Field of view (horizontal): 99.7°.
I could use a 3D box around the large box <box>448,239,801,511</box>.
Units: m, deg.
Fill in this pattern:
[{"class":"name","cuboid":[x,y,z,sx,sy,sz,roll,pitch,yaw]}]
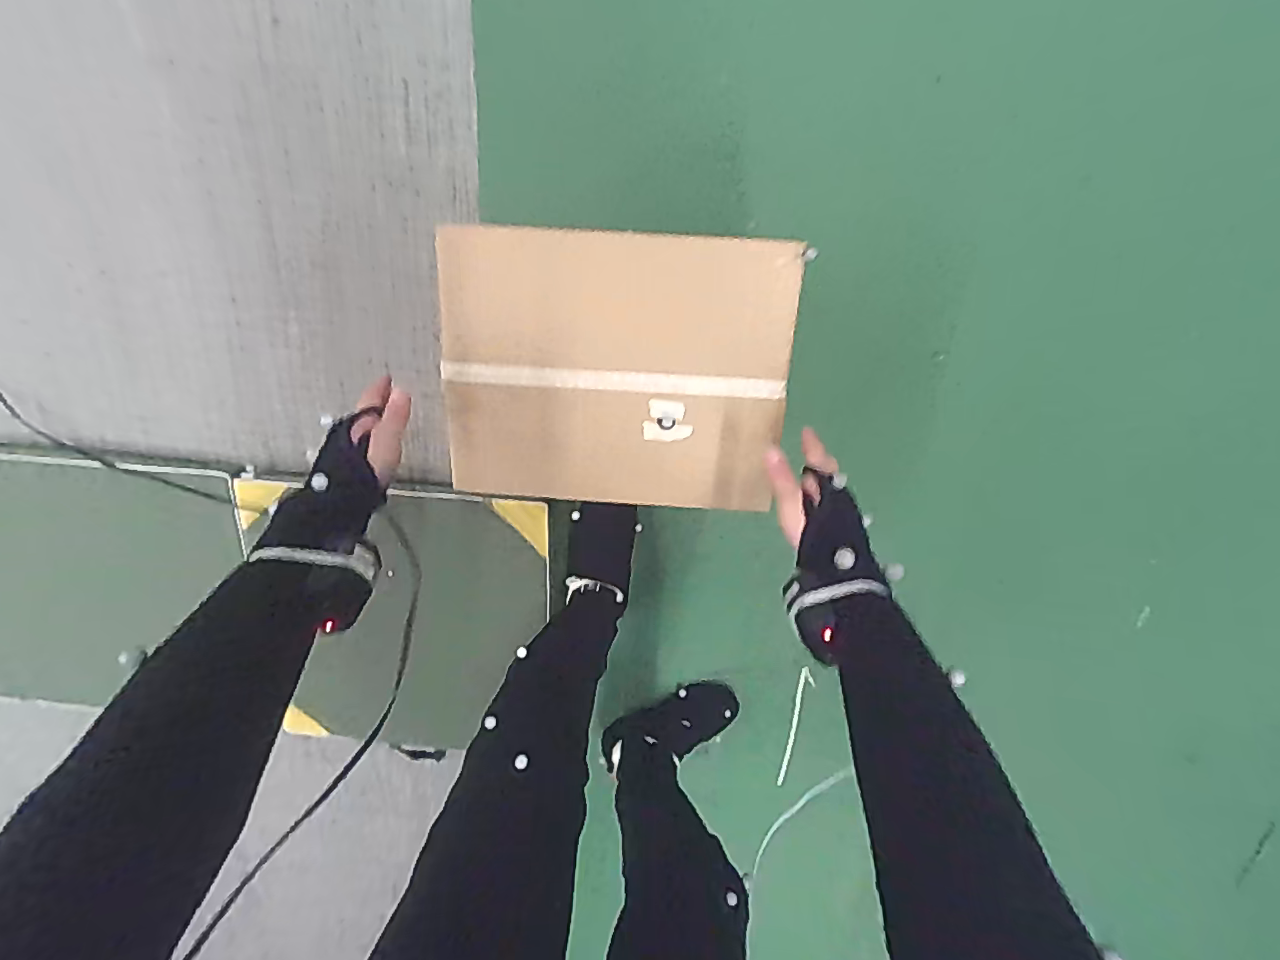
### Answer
[{"class":"large box","cuboid":[-0.020,-0.160,0.788,0.408,0.320,0.320,4,109,1]}]
